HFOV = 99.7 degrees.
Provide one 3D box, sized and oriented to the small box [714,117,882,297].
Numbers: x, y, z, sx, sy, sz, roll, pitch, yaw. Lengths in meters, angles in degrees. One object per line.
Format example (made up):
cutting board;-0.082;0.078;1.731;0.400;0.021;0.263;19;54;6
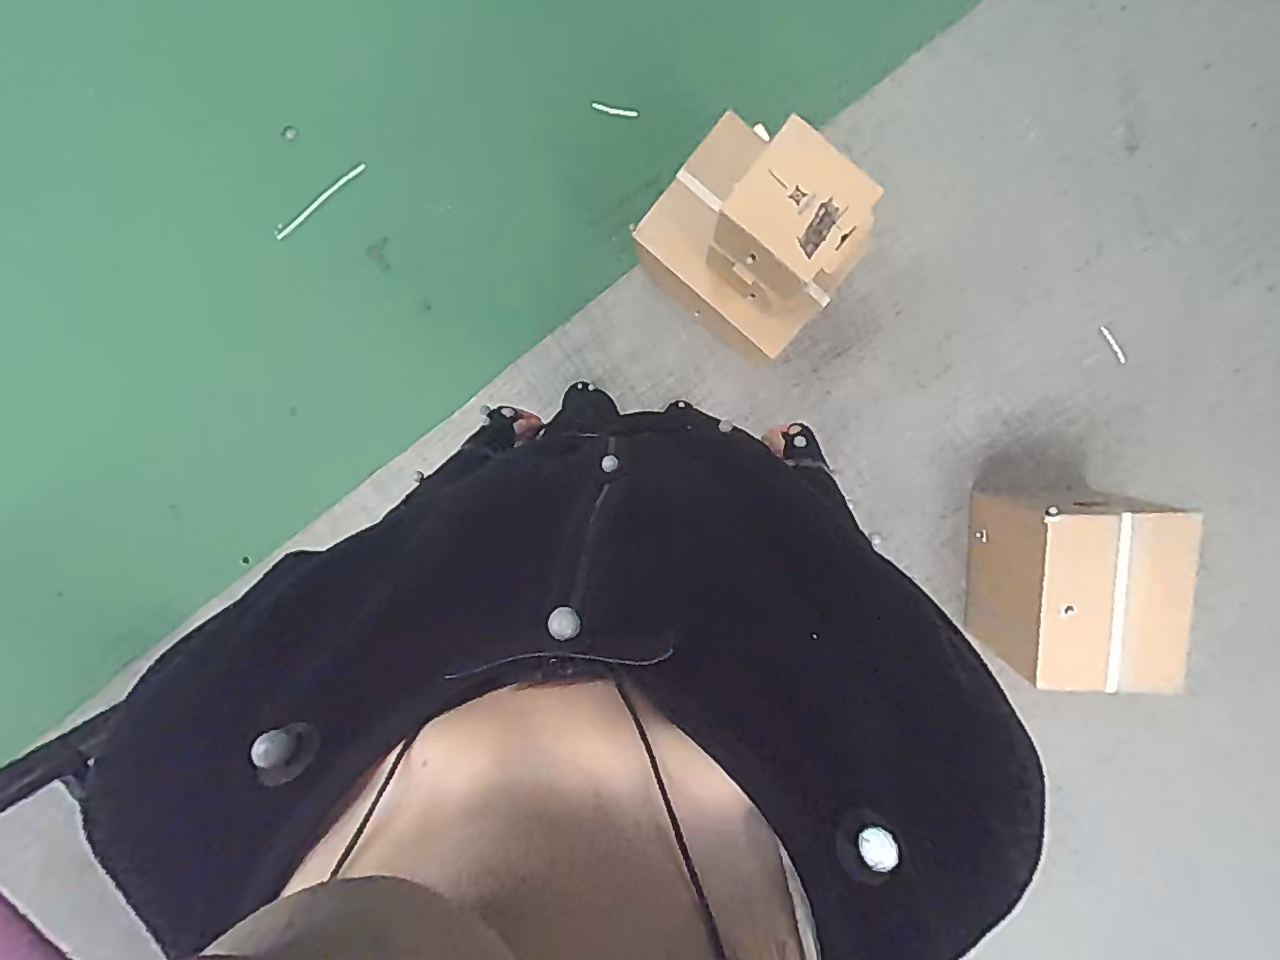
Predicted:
small box;0.237;-0.413;0.859;0.179;0.176;0.168;40;99;-2

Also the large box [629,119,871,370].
large box;0.238;-0.507;1.259;0.408;0.320;0.320;40;97;-1

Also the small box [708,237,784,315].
small box;0.244;-0.437;1.021;0.168;0.176;0.179;41;99;-2
